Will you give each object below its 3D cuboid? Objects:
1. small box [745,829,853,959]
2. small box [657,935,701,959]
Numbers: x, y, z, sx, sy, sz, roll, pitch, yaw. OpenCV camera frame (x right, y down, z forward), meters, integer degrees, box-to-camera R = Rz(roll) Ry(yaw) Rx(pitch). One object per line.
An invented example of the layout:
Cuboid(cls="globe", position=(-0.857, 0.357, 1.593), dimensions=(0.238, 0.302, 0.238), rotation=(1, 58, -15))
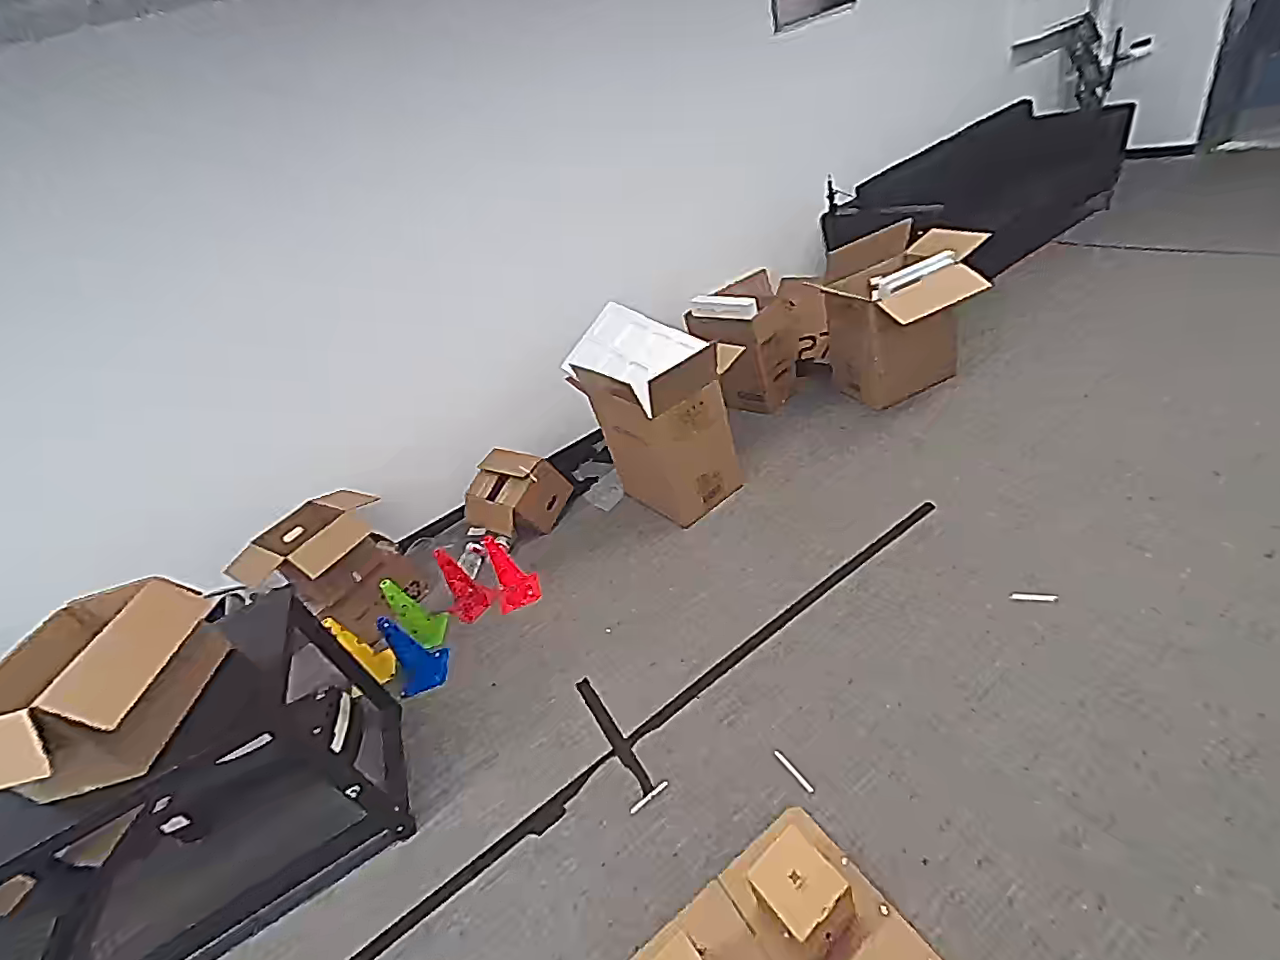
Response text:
Cuboid(cls="small box", position=(0.379, 0.993, 1.283), dimensions=(0.168, 0.176, 0.179), rotation=(-35, 35, -21))
Cuboid(cls="small box", position=(0.100, 1.161, 1.173), dimensions=(0.168, 0.176, 0.179), rotation=(-33, 35, -18))
